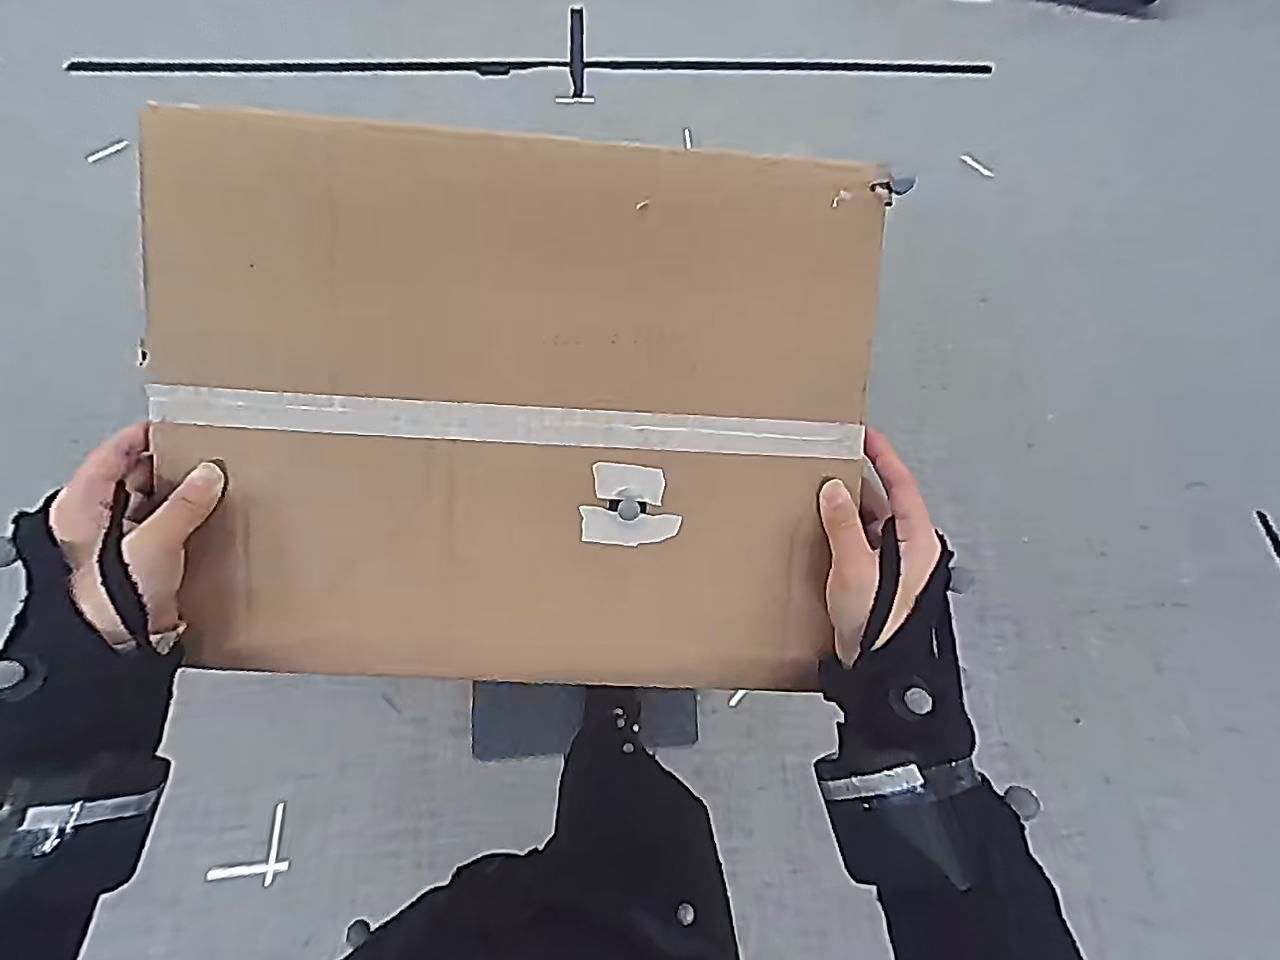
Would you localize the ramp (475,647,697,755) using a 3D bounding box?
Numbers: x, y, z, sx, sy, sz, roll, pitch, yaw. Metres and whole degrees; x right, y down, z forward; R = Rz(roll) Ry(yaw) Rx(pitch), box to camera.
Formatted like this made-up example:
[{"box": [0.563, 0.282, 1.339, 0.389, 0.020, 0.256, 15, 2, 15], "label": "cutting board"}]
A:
[{"box": [-0.133, 0.097, 1.271, 0.509, 0.206, 0.991, -3, 69, -5], "label": "ramp"}]

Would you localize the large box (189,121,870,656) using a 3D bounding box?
[{"box": [-0.074, -0.058, 0.477, 0.408, 0.320, 0.320, 3, 97, -3], "label": "large box"}]
